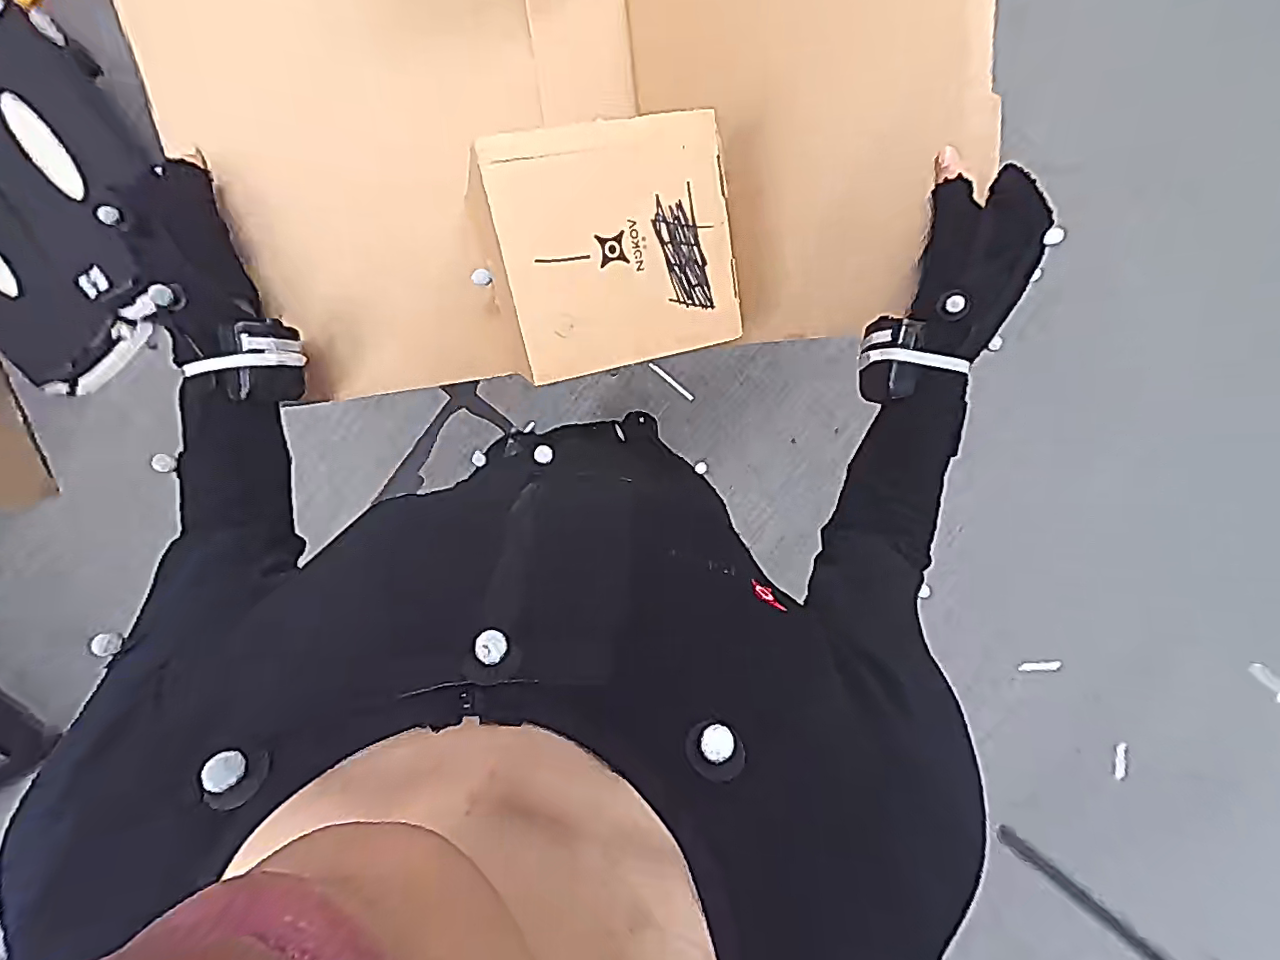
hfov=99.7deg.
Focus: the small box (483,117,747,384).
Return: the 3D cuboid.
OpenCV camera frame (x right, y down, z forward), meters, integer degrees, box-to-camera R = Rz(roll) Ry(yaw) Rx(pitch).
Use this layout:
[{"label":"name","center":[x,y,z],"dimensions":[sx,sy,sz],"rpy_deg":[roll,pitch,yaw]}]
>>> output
[{"label":"small box","center":[-0.029,-0.191,0.472],"dimensions":[0.179,0.176,0.168],"rpy_deg":[-15,110,-13]}]
